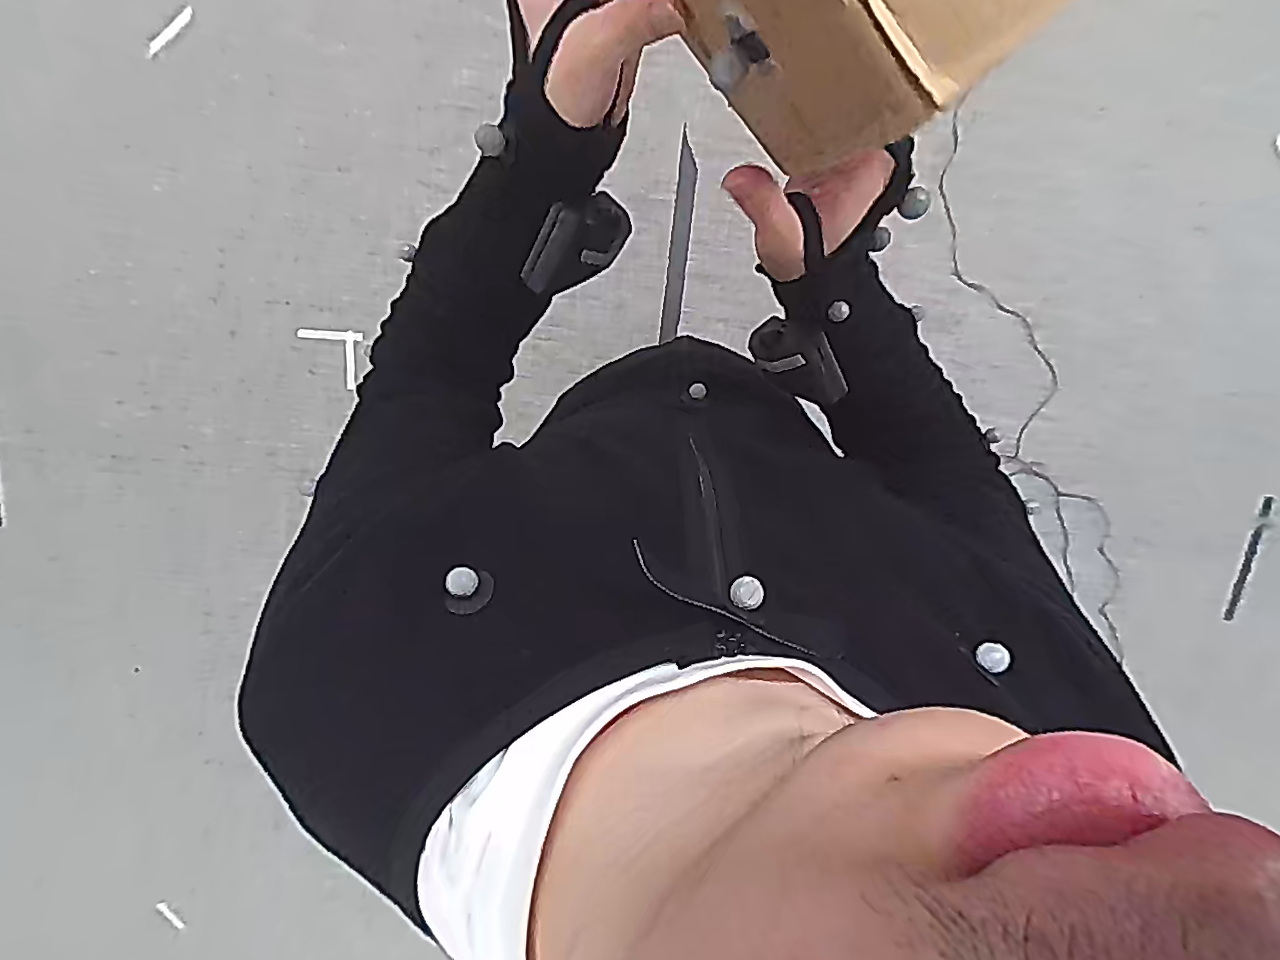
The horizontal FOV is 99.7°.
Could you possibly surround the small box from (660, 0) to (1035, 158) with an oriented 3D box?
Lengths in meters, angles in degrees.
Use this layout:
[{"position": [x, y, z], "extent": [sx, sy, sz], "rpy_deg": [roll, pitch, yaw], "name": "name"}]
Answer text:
[{"position": [0.073, -0.225, 0.152], "extent": [0.179, 0.176, 0.168], "rpy_deg": [-41, 108, 19], "name": "small box"}]
